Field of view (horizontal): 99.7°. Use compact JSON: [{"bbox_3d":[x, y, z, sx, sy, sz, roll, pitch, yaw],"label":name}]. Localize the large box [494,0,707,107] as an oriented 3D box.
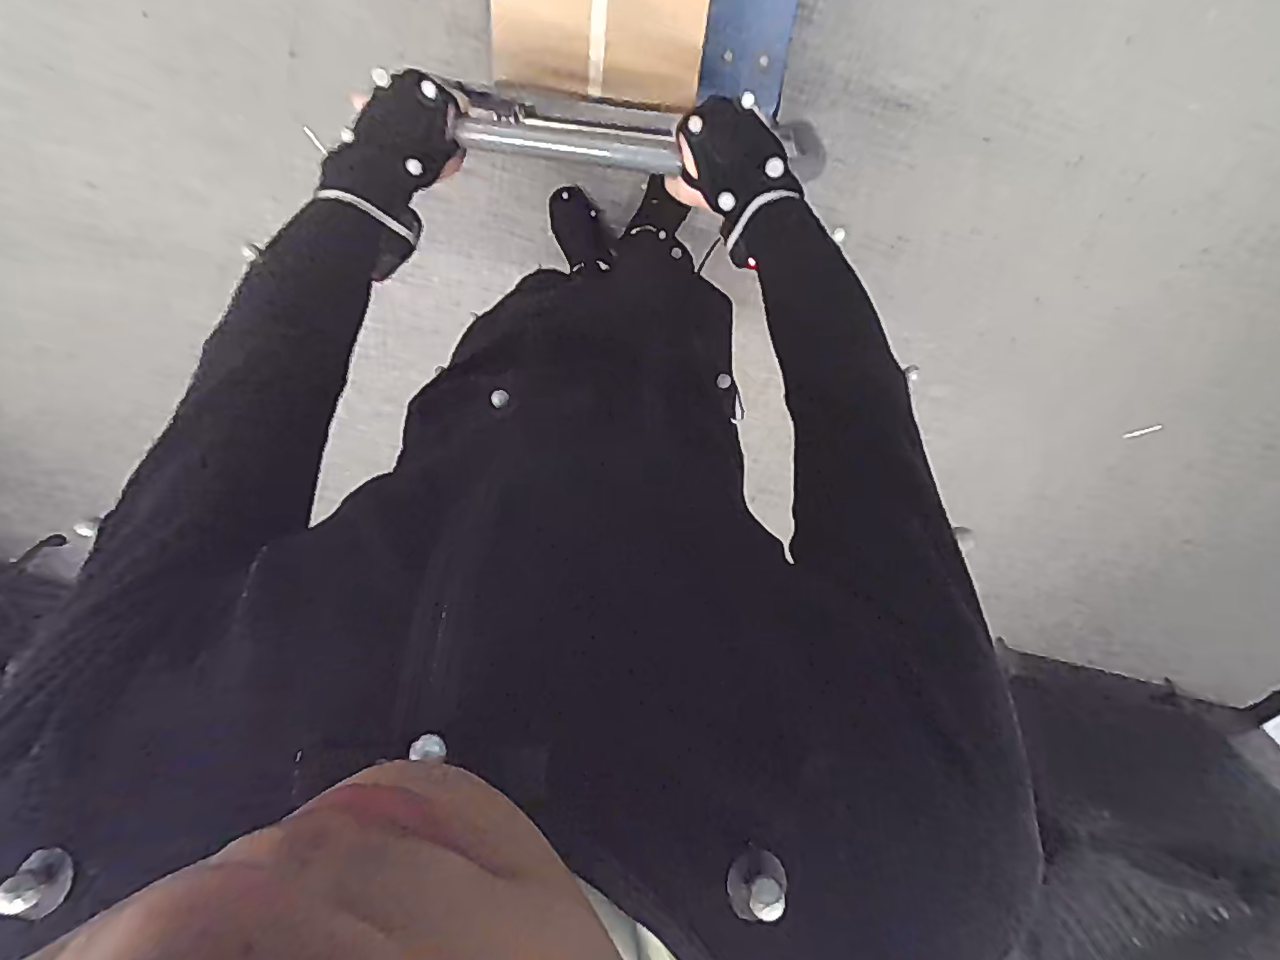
[{"bbox_3d":[-0.040,-0.849,0.857,0.320,0.320,0.408,7,125,-1],"label":"large box"}]
